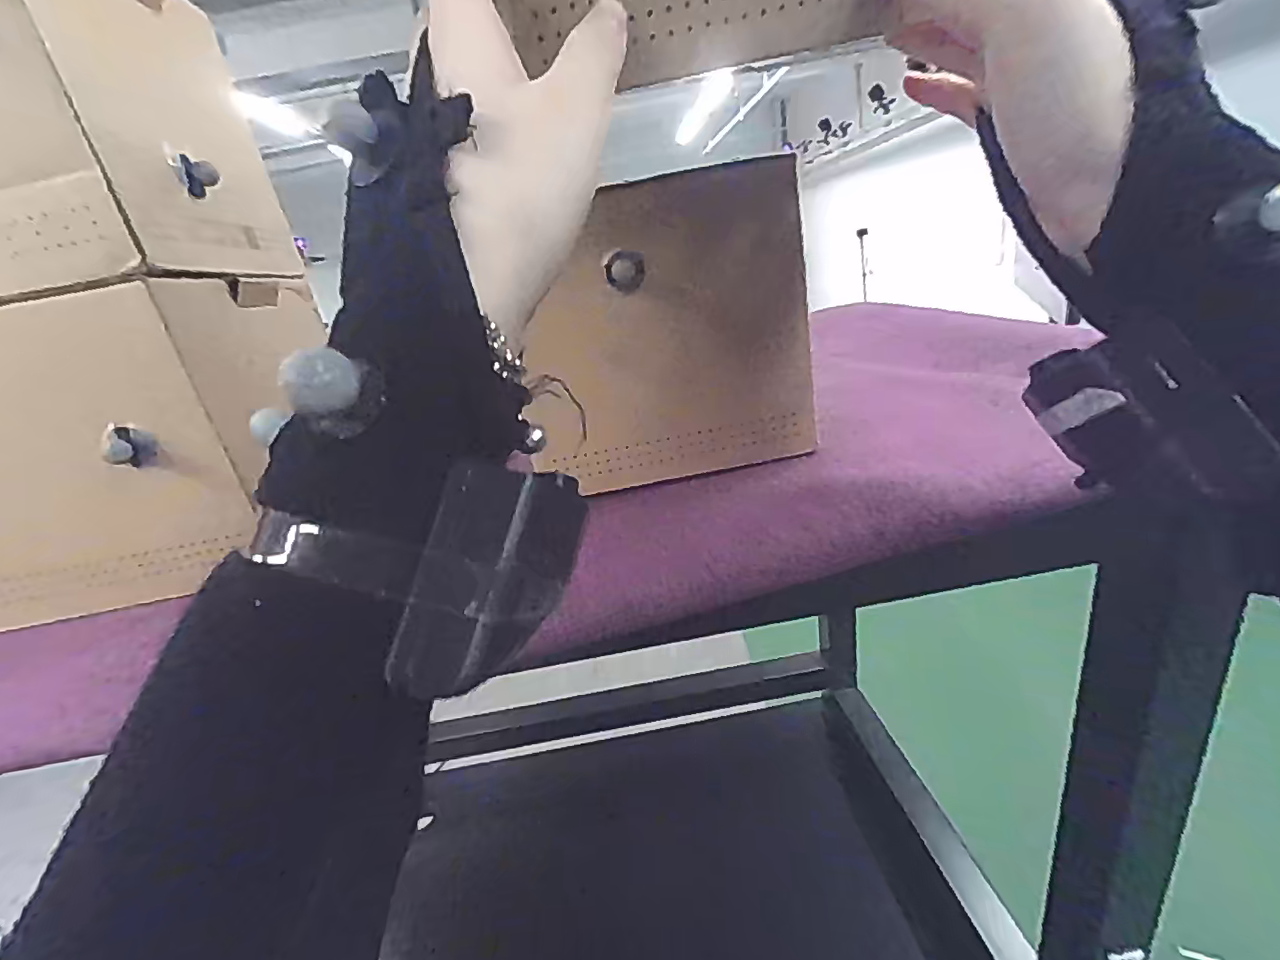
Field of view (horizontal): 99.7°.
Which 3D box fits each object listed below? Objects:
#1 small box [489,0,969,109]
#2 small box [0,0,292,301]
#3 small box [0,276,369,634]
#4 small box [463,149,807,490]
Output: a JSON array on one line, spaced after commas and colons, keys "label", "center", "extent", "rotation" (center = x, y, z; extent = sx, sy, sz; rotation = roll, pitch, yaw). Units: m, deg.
[{"label": "small box", "center": [0.021, -0.255, 0.191], "extent": [0.179, 0.176, 0.168], "rotation": [-10, 43, 4]}, {"label": "small box", "center": [-0.341, -0.178, 0.294], "extent": [0.179, 0.176, 0.168], "rotation": [-12, 21, -4]}, {"label": "small box", "center": [-0.310, -0.028, 0.351], "extent": [0.179, 0.176, 0.168], "rotation": [-12, 21, -2]}, {"label": "small box", "center": [0.003, -0.102, 0.379], "extent": [0.179, 0.176, 0.168], "rotation": [-10, 20, 1]}]
